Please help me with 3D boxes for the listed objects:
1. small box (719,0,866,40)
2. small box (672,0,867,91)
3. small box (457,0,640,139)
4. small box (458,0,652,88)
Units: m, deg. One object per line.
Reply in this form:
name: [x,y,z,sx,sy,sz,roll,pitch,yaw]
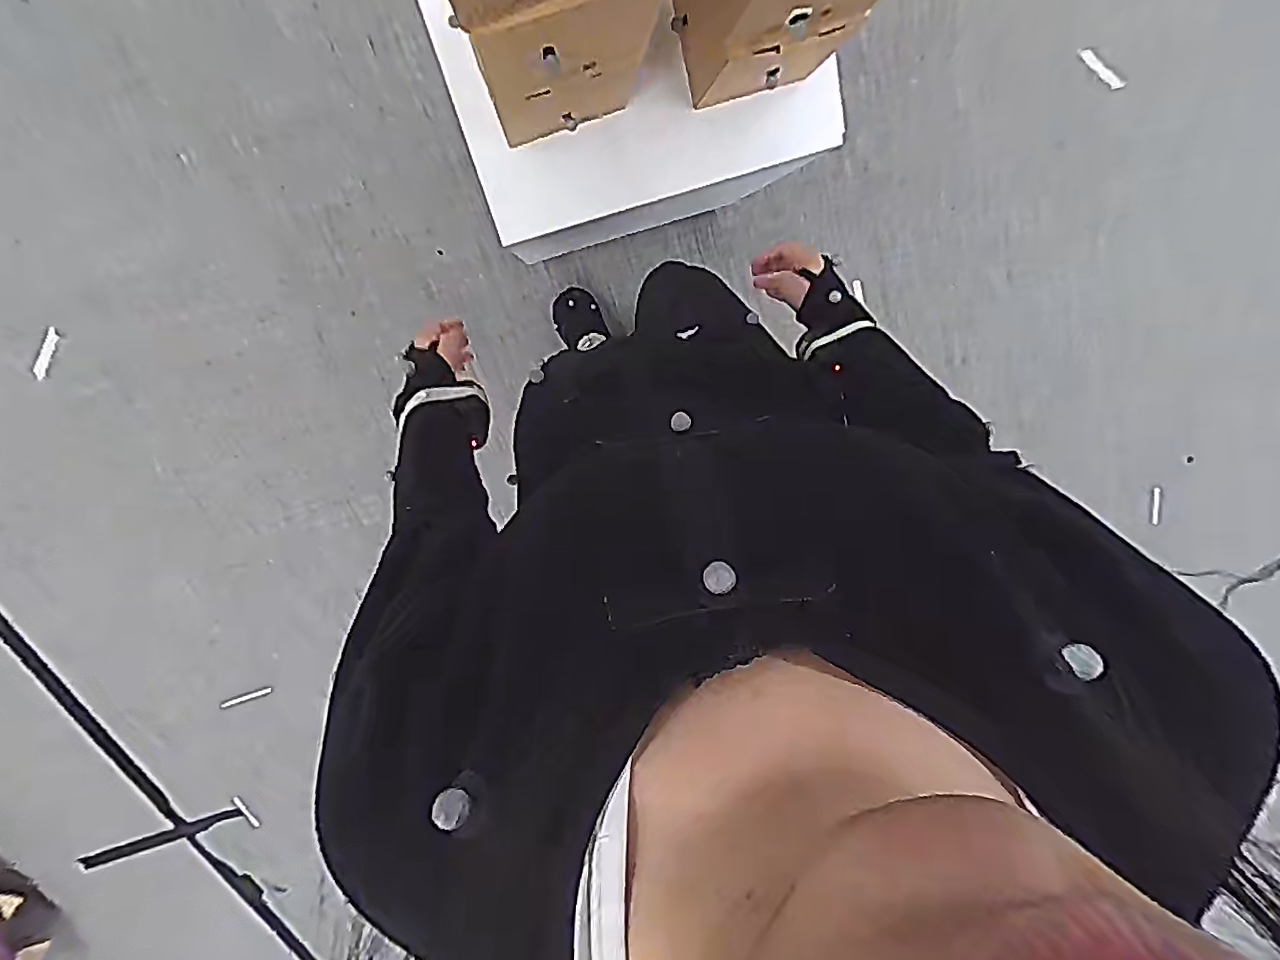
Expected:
small box: [0.154,-0.535,0.467,0.168,0.176,0.179,-16,111,0]
small box: [0.135,-0.580,0.622,0.168,0.176,0.179,-17,112,-2]
small box: [-0.113,-0.522,0.608,0.168,0.176,0.179,-20,111,-1]
small box: [-0.087,-0.468,0.457,0.168,0.176,0.179,-19,110,-2]
